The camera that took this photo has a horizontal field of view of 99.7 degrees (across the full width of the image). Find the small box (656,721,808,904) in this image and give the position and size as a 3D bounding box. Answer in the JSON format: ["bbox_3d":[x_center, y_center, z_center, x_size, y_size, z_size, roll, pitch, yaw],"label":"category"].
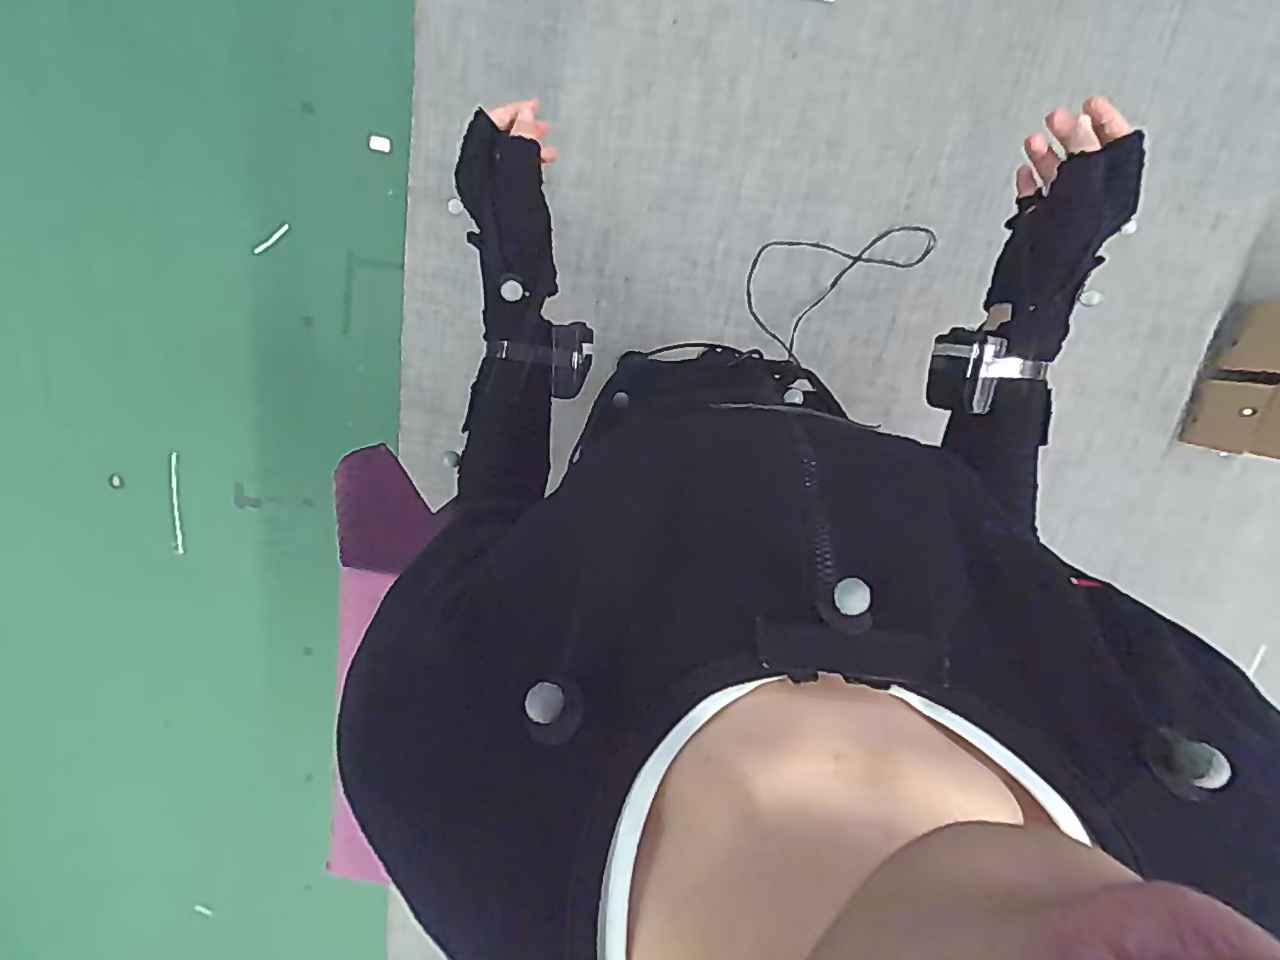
[{"bbox_3d":[0.120,0.480,0.776,0.168,0.176,0.179,12,105,0],"label":"small box"}]
